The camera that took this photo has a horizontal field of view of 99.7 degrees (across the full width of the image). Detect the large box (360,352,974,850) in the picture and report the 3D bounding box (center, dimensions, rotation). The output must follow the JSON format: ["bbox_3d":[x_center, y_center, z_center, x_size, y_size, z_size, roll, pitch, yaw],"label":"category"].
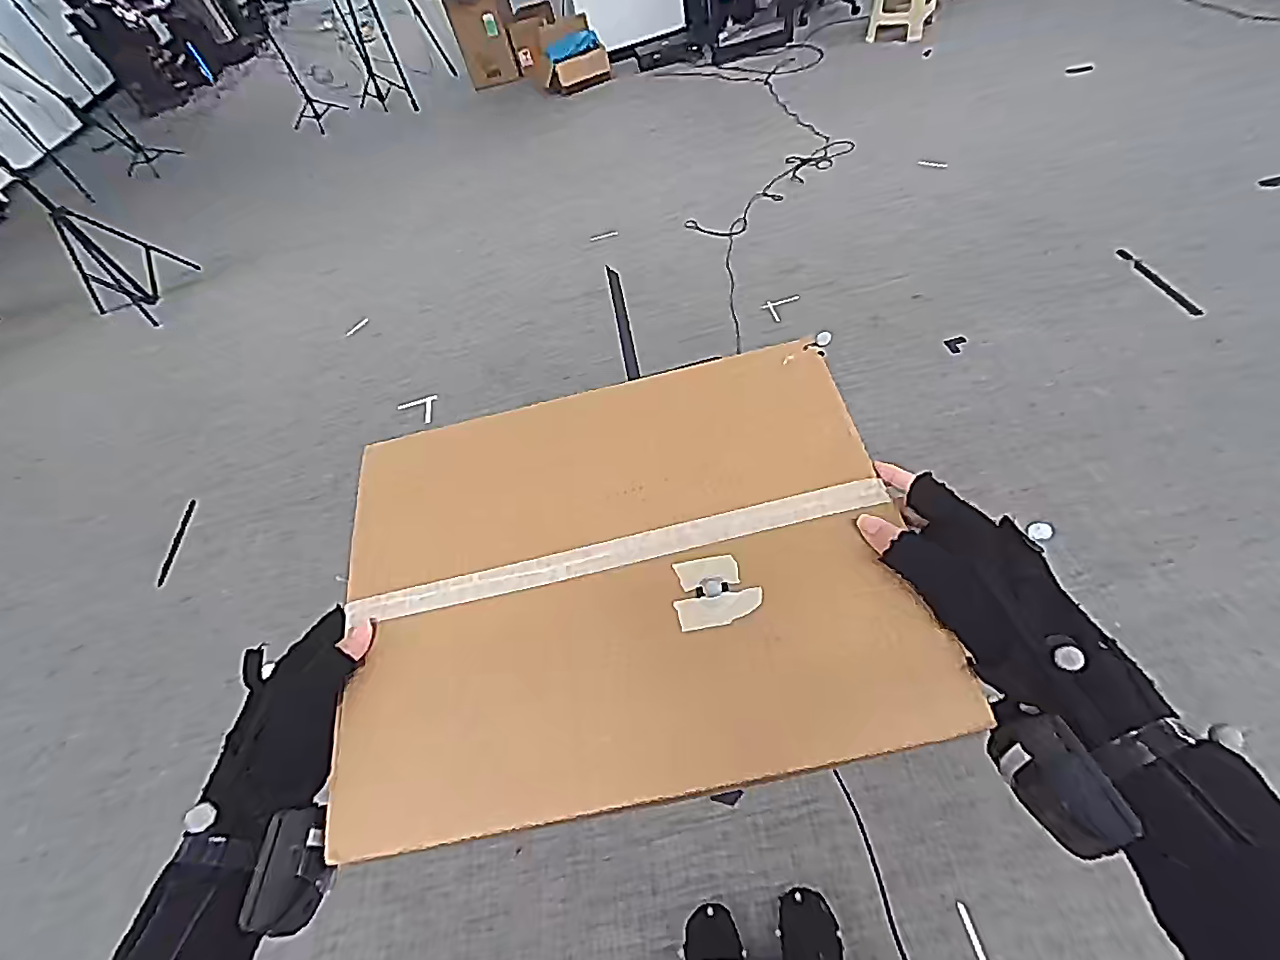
[{"bbox_3d":[0.008,0.133,0.538,0.408,0.320,0.320,-13,60,2],"label":"large box"}]
